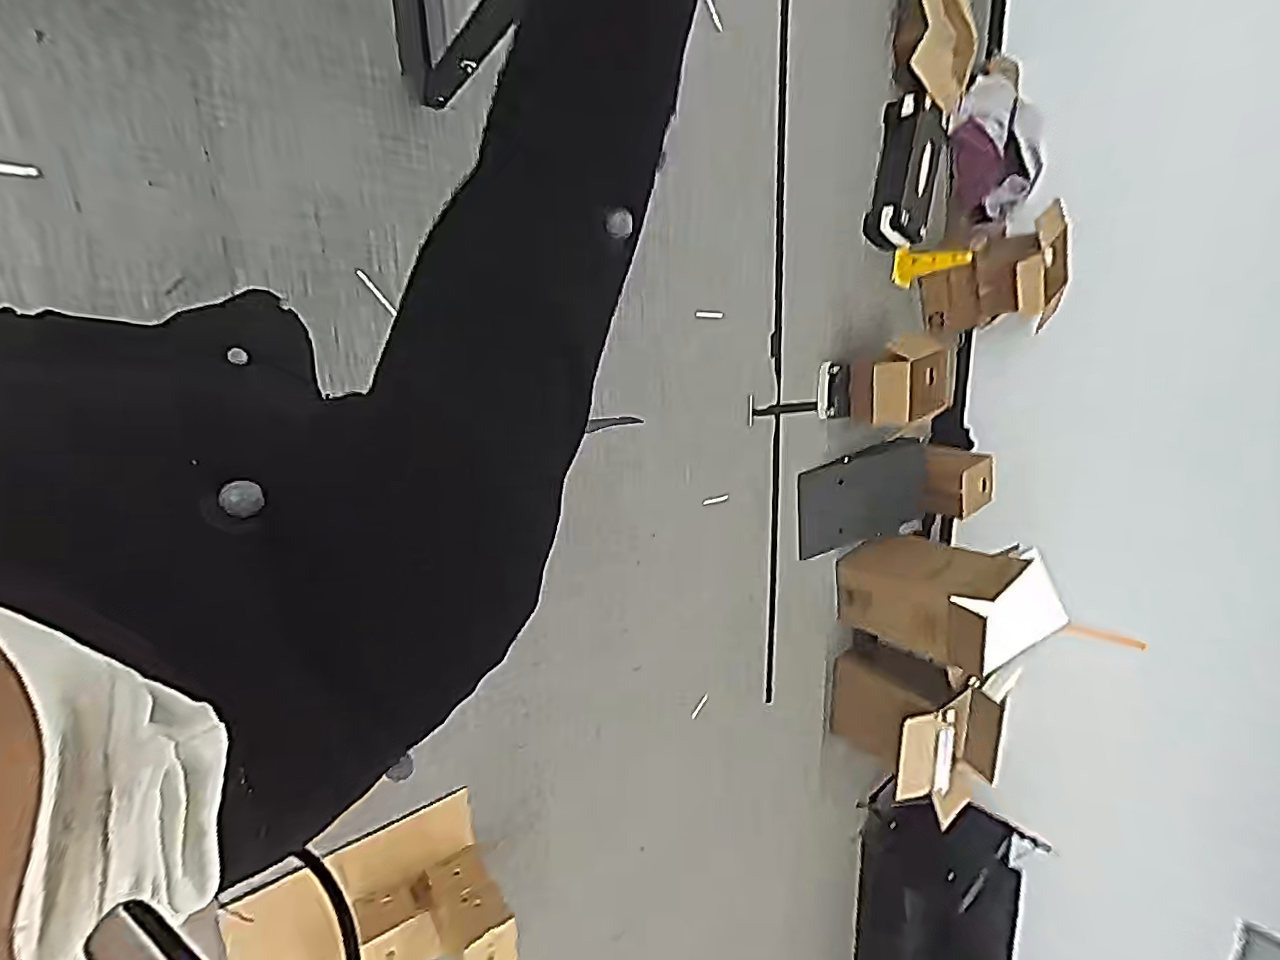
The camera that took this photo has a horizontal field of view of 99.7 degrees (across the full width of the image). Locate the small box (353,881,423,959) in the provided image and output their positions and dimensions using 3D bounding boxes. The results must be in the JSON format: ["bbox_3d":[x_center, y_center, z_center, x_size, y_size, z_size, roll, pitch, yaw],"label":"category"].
[{"bbox_3d":[-0.783,1.412,1.679,0.168,0.176,0.179,-6,103,-37],"label":"small box"}]

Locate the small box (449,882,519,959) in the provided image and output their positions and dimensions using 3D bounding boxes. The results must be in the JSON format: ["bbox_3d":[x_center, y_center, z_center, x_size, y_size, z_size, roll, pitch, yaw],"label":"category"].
[{"bbox_3d":[-0.492,1.431,1.700,0.168,0.176,0.179,-7,103,-38],"label":"small box"}]

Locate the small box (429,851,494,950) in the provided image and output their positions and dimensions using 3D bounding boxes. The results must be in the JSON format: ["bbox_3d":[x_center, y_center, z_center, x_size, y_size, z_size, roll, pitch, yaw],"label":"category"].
[{"bbox_3d":[-0.601,1.400,1.821,0.168,0.176,0.179,-8,103,-38],"label":"small box"}]
